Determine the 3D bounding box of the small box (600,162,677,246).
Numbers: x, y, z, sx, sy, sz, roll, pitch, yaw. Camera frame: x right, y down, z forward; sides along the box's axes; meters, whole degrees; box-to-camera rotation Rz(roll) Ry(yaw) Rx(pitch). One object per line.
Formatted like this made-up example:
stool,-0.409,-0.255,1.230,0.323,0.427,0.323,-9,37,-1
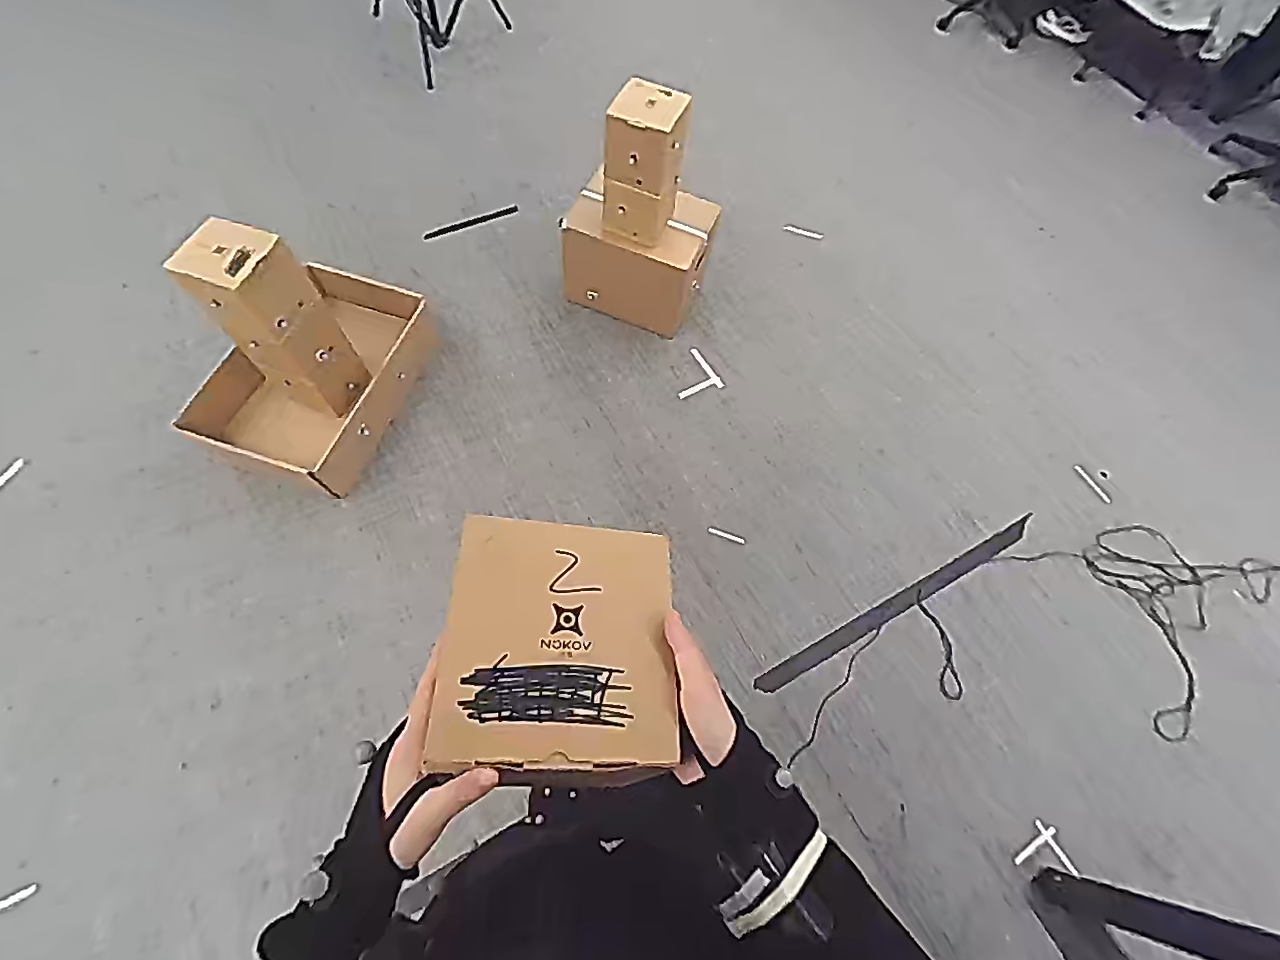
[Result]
small box,-0.006,-0.806,1.545,0.168,0.176,0.179,21,65,5

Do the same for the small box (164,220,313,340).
small box,-0.889,-0.444,1.221,0.179,0.176,0.168,17,65,5

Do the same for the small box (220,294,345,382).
small box,-0.896,-0.374,1.370,0.179,0.176,0.168,19,66,3

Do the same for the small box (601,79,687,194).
small box,0.008,-0.884,1.401,0.168,0.176,0.179,22,66,4

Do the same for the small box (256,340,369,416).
small box,-0.907,-0.304,1.516,0.179,0.176,0.168,20,65,4
